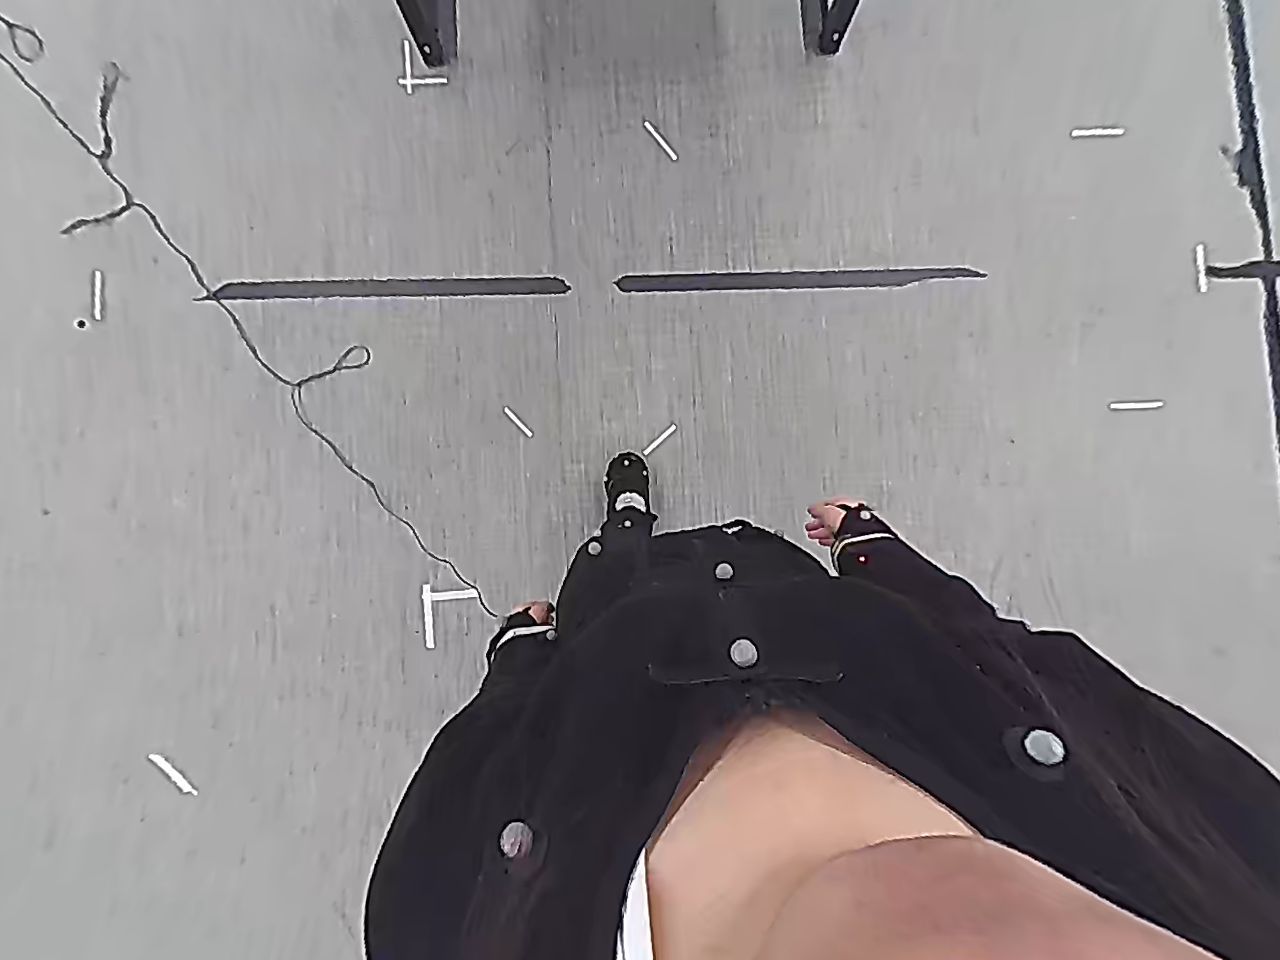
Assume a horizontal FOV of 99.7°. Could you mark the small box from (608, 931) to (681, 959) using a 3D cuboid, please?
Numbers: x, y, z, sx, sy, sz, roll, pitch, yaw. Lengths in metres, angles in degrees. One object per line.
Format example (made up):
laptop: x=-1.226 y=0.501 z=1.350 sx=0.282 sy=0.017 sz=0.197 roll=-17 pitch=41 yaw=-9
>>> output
small box: x=0.014 y=1.157 z=1.211 sx=0.168 sy=0.176 sz=0.179 roll=-5 pitch=88 yaw=0

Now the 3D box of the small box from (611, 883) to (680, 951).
small box: x=0.014 y=1.164 z=1.373 sx=0.168 sy=0.176 sz=0.179 roll=-4 pitch=88 yaw=-1
